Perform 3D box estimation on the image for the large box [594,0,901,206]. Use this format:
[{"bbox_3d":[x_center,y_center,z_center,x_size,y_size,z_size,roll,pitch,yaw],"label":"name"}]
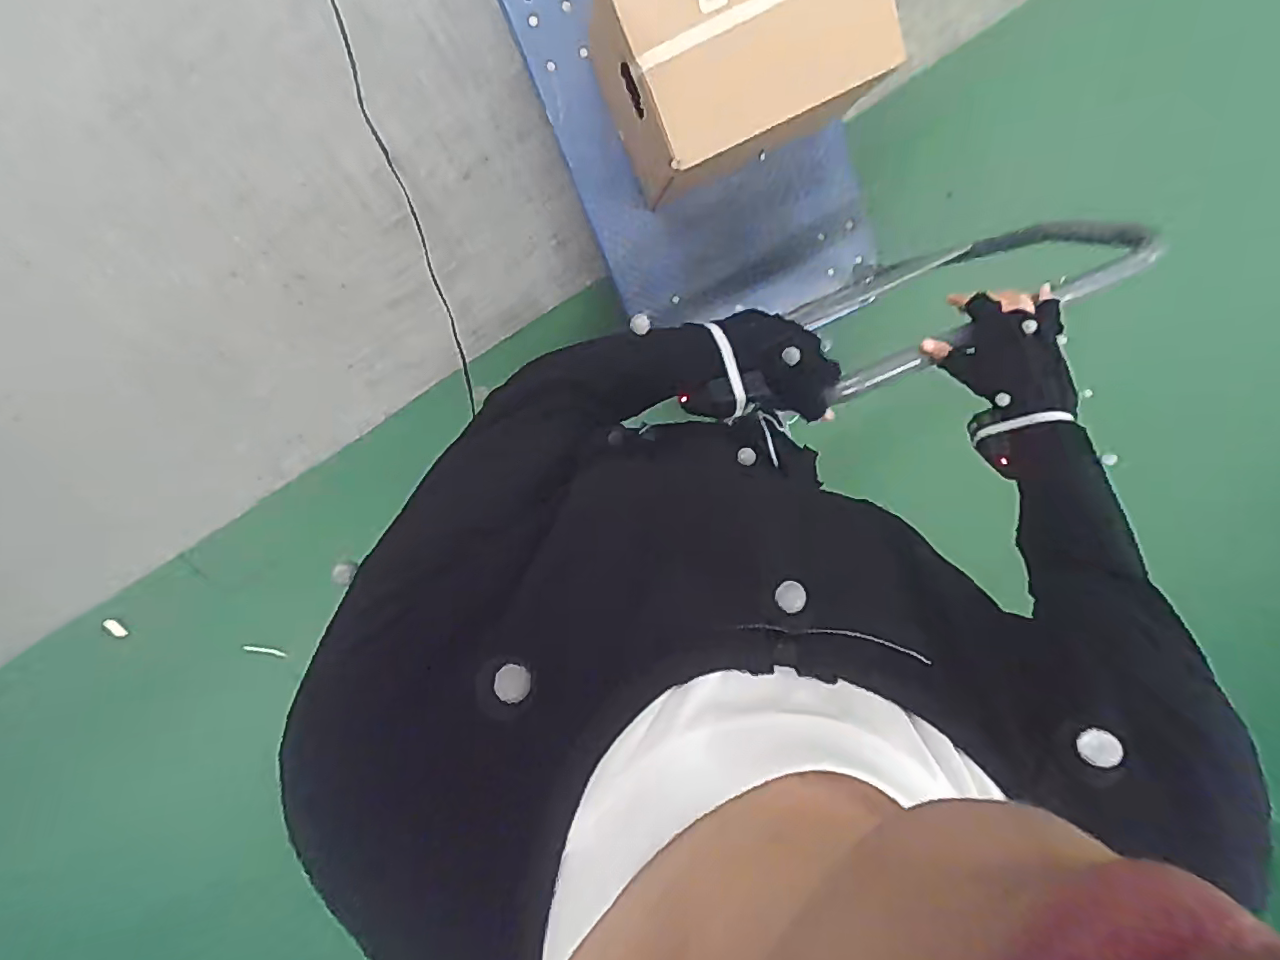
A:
[{"bbox_3d":[0.163,-0.755,0.963,0.408,0.320,0.320,-26,106,1],"label":"large box"}]
